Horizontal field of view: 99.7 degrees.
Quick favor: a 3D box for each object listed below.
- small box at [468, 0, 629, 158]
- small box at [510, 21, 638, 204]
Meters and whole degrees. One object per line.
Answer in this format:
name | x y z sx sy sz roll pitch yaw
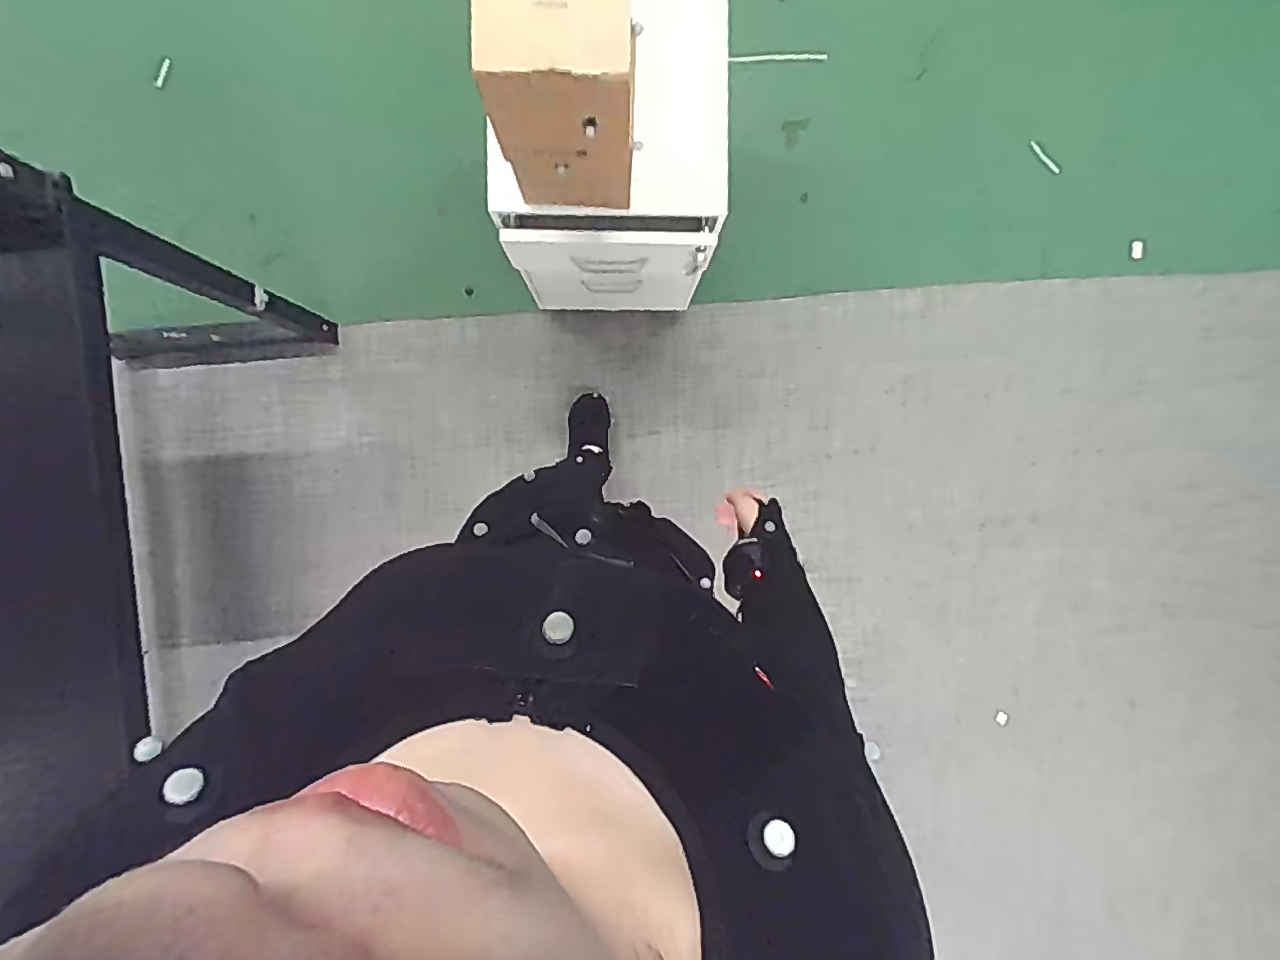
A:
small box | -0.096 -0.503 0.626 0.168 0.176 0.179 -1 91 -3
small box | -0.097 -0.525 0.787 0.179 0.176 0.168 2 91 -3
